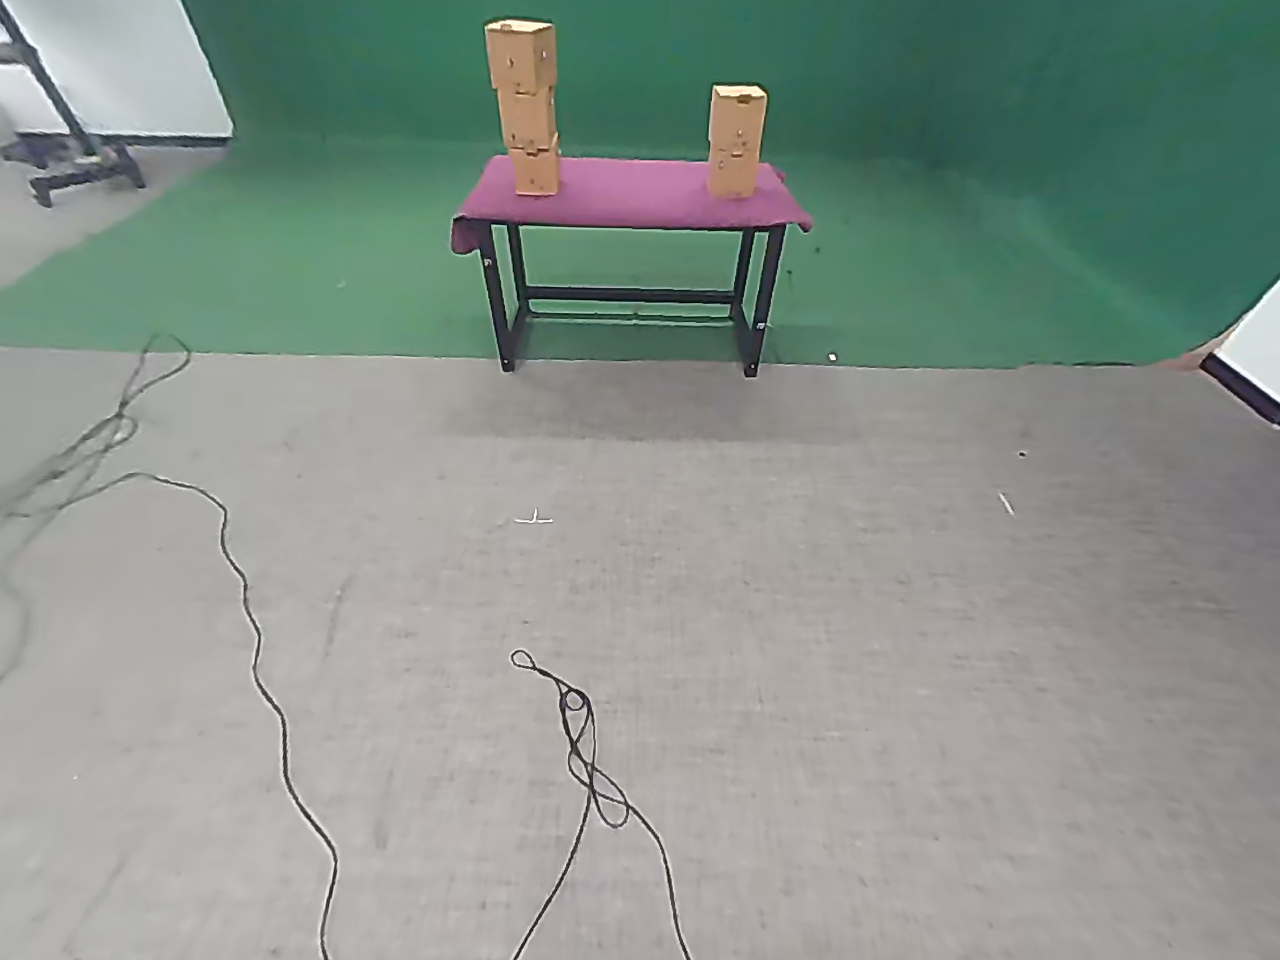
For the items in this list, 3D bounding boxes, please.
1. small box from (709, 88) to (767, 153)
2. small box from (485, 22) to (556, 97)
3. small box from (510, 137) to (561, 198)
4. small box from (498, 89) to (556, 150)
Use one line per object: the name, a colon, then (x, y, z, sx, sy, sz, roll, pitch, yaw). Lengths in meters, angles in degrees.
small box: (0.350, -1.310, 1.968, 0.168, 0.176, 0.179, -2, 46, -3)
small box: (-0.394, -1.420, 1.827, 0.168, 0.176, 0.179, 17, 50, 12)
small box: (-0.396, -1.204, 2.075, 0.168, 0.176, 0.179, 0, 47, -3)
small box: (-0.400, -1.305, 1.945, 0.168, 0.176, 0.179, 4, 46, 0)
